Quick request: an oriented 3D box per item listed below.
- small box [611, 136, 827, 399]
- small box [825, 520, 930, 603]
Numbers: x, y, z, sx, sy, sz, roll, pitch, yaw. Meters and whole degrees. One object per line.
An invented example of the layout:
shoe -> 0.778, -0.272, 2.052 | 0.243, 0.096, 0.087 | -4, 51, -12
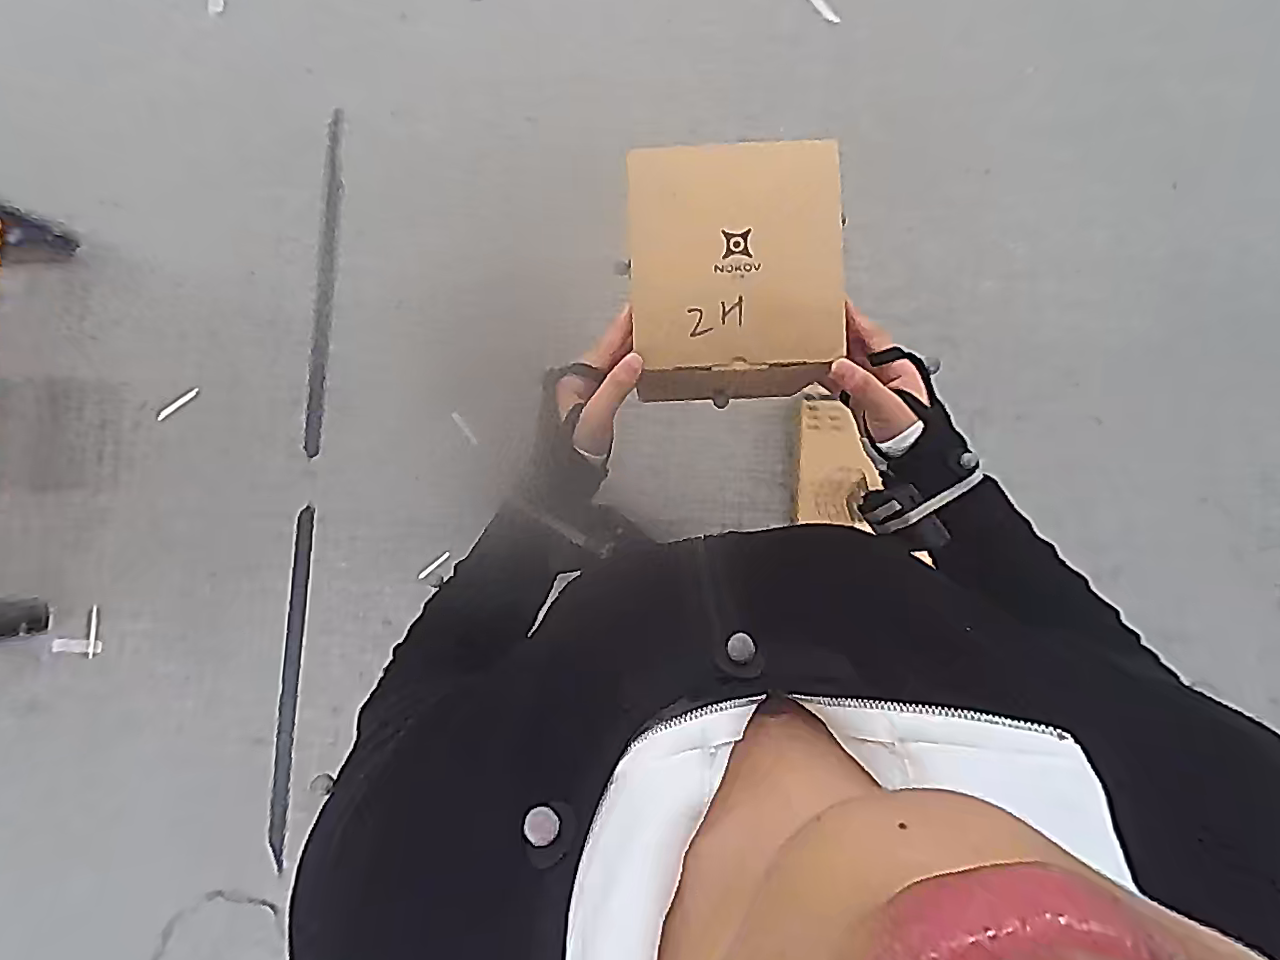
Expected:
small box -> 0.062, -0.179, 0.502 | 0.168, 0.176, 0.179 | -3, 90, 2
small box -> 0.561, 0.188, 1.293 | 0.179, 0.176, 0.168 | 6, 87, 3
